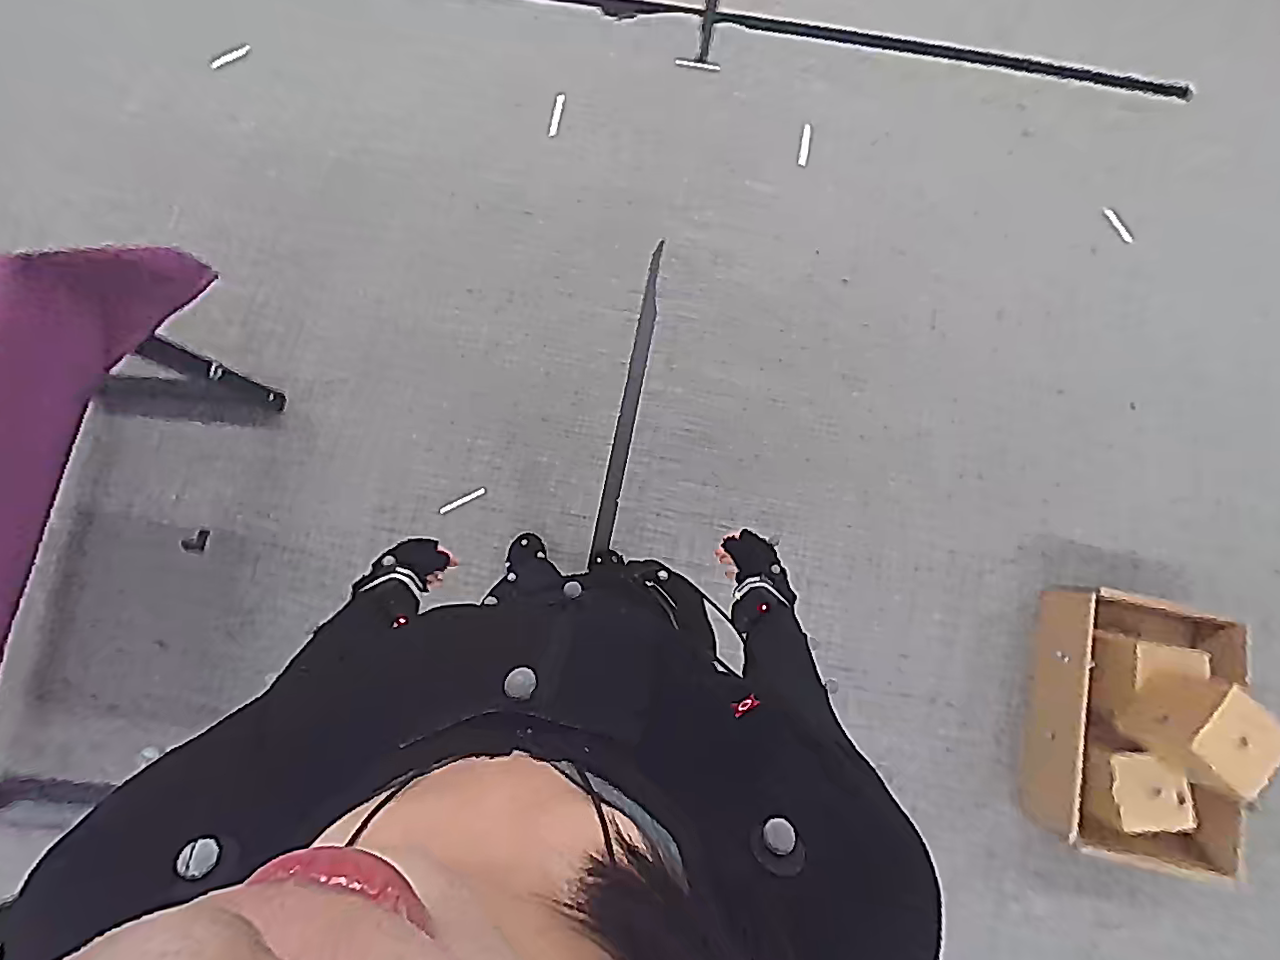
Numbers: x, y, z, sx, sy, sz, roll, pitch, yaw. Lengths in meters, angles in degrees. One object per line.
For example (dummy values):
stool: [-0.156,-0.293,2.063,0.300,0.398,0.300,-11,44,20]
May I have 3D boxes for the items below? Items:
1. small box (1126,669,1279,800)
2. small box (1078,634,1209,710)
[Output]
small box: [1.242,0.550,1.195,0.168,0.176,0.179,43,82,3]
small box: [1.268,0.493,1.368,0.179,0.176,0.168,9,82,1]
